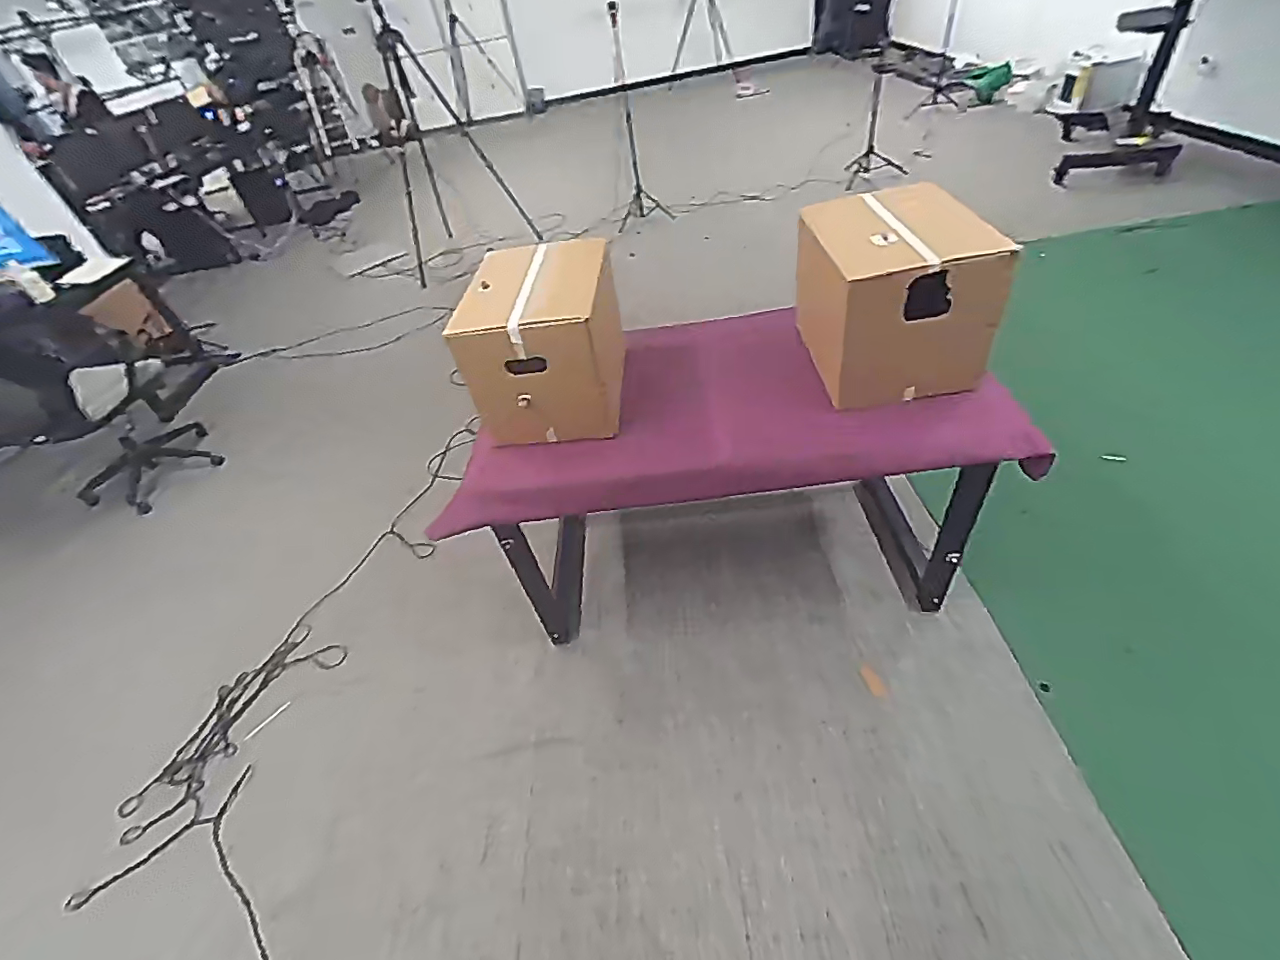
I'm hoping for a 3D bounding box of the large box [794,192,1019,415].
[{"bbox_3d":[0.558,-0.408,1.239,0.320,0.320,0.408,-10,44,6],"label":"large box"}]
